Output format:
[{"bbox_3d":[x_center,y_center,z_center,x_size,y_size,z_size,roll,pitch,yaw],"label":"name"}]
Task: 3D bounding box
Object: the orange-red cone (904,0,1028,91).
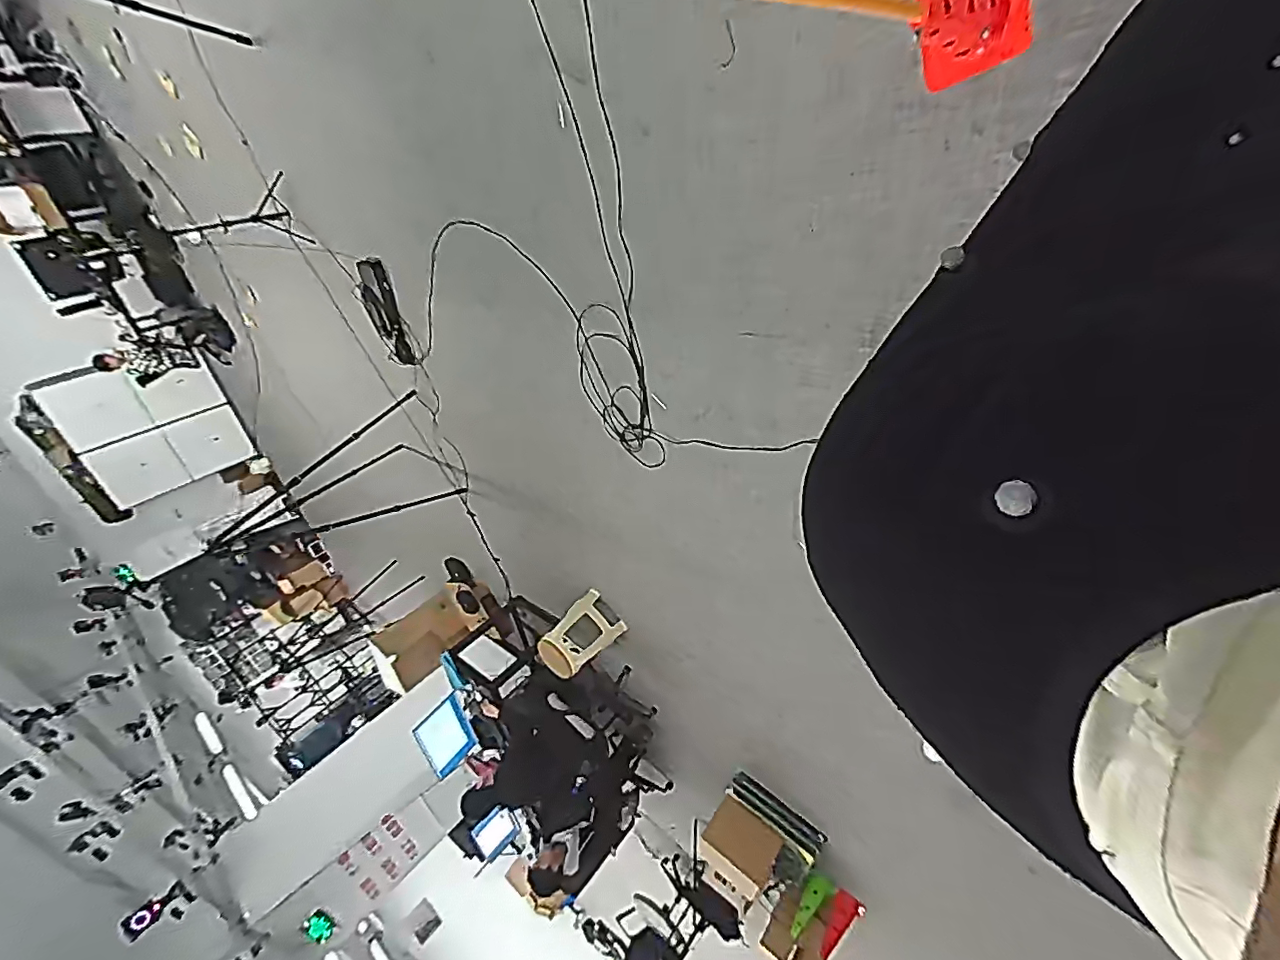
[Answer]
[{"bbox_3d":[0.587,-0.883,1.037,0.199,0.360,0.198,4,121,47],"label":"orange-red cone"}]
